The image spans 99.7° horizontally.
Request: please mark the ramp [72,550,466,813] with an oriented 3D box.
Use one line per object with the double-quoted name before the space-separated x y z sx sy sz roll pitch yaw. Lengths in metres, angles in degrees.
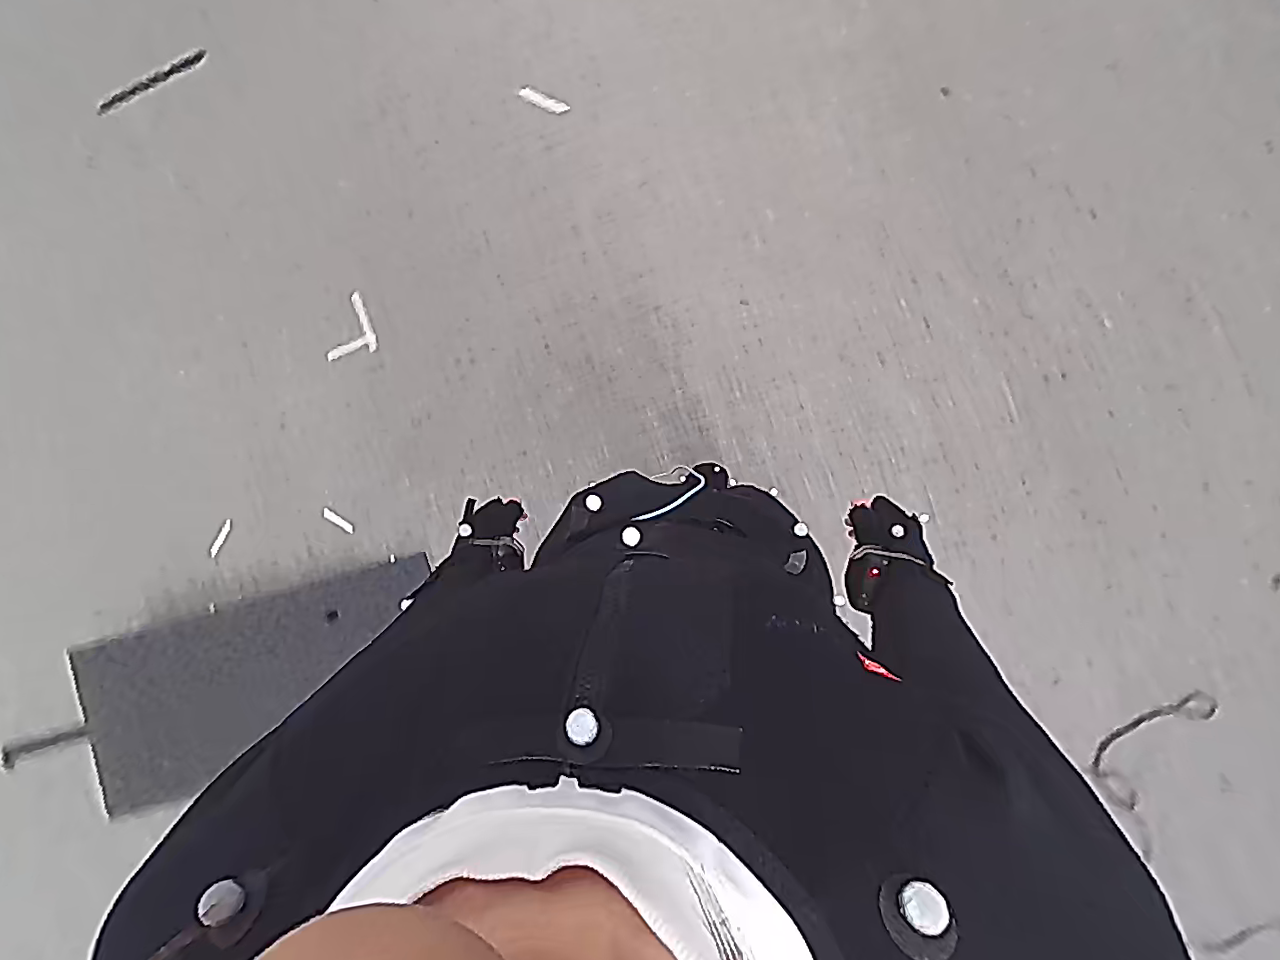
"ramp" -1.034 0.556 1.523 0.991 0.206 0.509 -17 88 7
